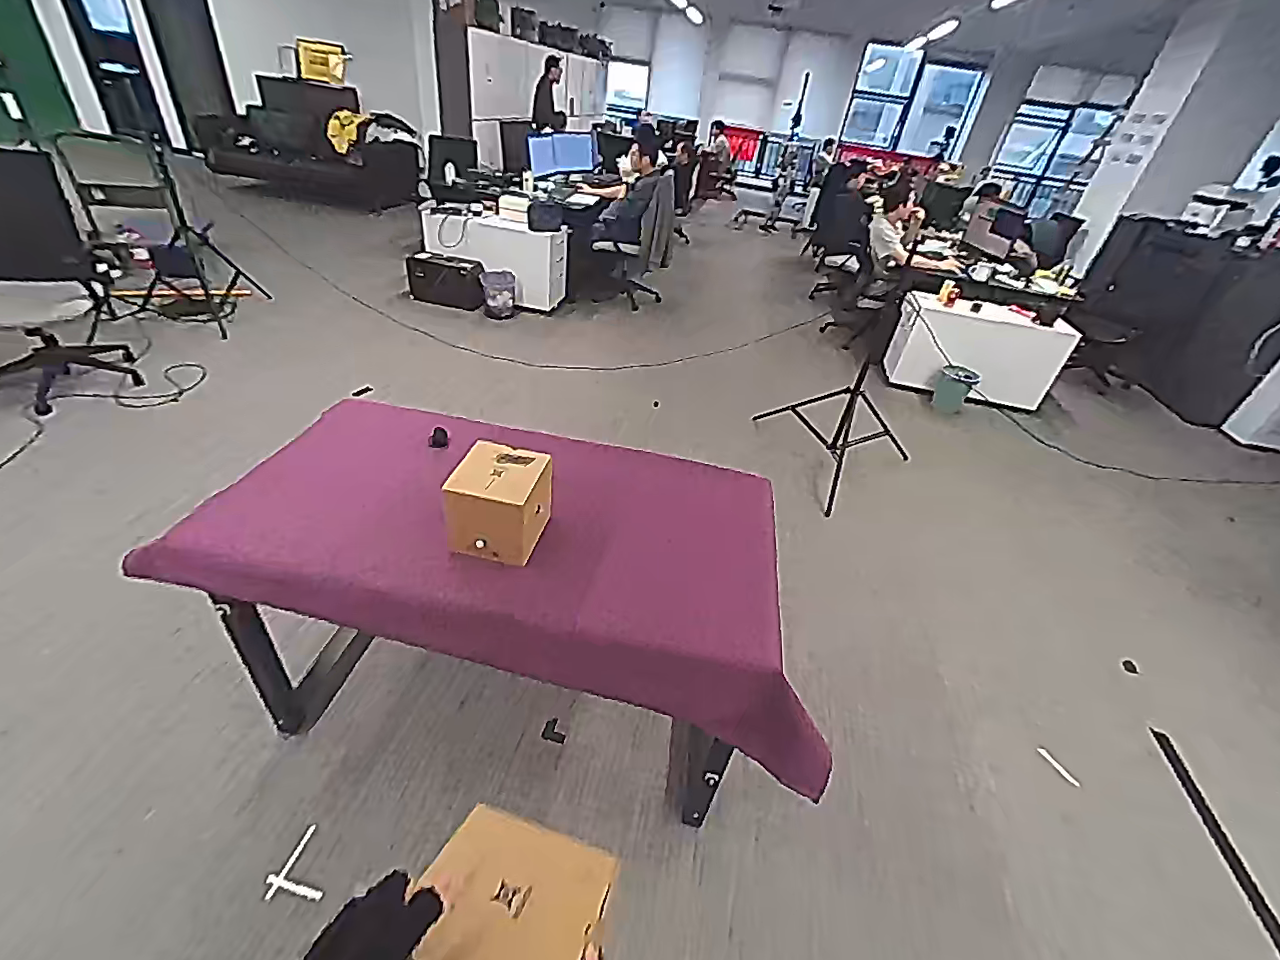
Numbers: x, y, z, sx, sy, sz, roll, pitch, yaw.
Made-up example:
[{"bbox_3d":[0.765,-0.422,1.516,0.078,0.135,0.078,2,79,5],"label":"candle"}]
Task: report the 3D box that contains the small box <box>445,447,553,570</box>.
[{"bbox_3d":[-0.290,0.058,1.135,0.168,0.176,0.179,11,36,4],"label":"small box"}]
